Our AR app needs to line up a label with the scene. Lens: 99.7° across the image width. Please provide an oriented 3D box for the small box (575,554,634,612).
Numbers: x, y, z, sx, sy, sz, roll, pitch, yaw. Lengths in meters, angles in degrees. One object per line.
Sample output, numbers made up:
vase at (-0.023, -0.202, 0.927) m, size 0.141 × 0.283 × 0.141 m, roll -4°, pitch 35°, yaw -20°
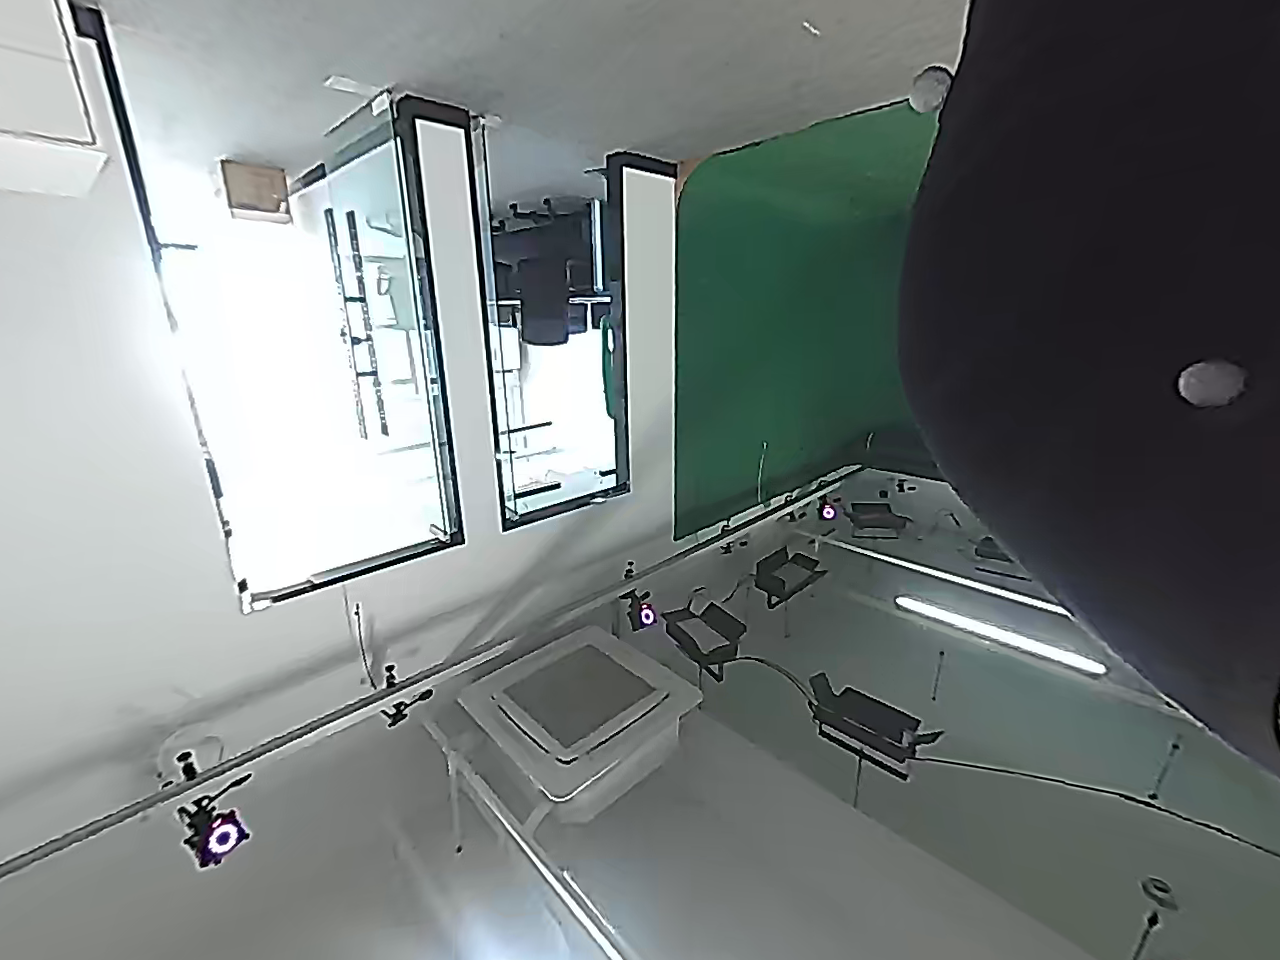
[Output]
small box at (-0.147, 0.450, 2.327) m, size 0.168 × 0.176 × 0.179 m, roll -35°, pitch -29°, yaw 0°

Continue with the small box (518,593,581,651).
small box at (-0.383, 0.614, 2.305) m, size 0.179 × 0.176 × 0.168 m, roll -35°, pitch -28°, yaw -1°
